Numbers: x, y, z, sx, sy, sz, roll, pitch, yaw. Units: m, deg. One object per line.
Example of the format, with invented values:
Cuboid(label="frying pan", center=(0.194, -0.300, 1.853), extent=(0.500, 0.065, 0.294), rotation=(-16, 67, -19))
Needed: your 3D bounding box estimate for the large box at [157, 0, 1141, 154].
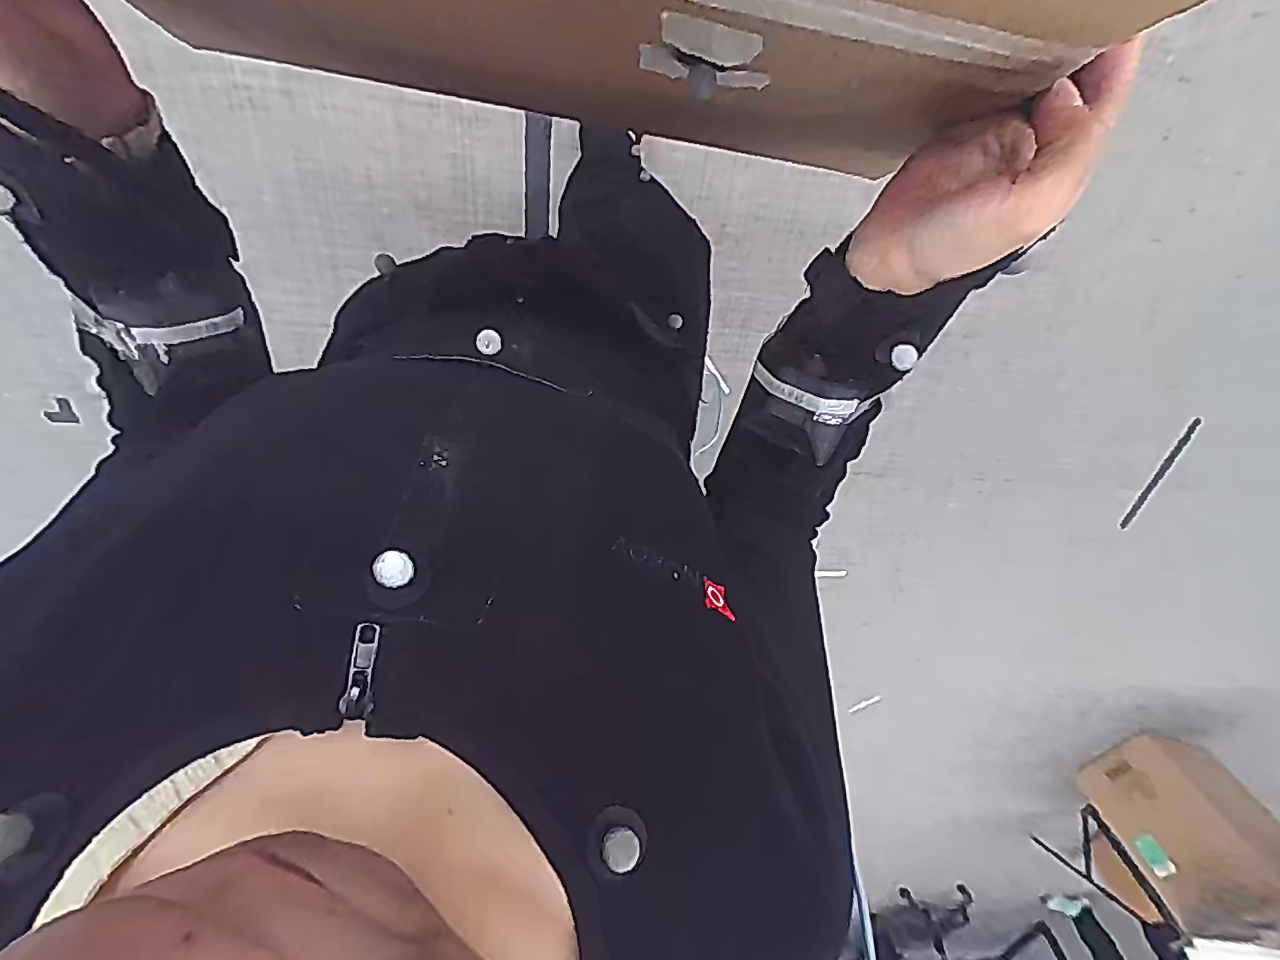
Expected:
Cuboid(label="large box", center=(-0.013, -0.333, 0.139), extent=(0.408, 0.320, 0.320), rotation=(6, 105, -7))
